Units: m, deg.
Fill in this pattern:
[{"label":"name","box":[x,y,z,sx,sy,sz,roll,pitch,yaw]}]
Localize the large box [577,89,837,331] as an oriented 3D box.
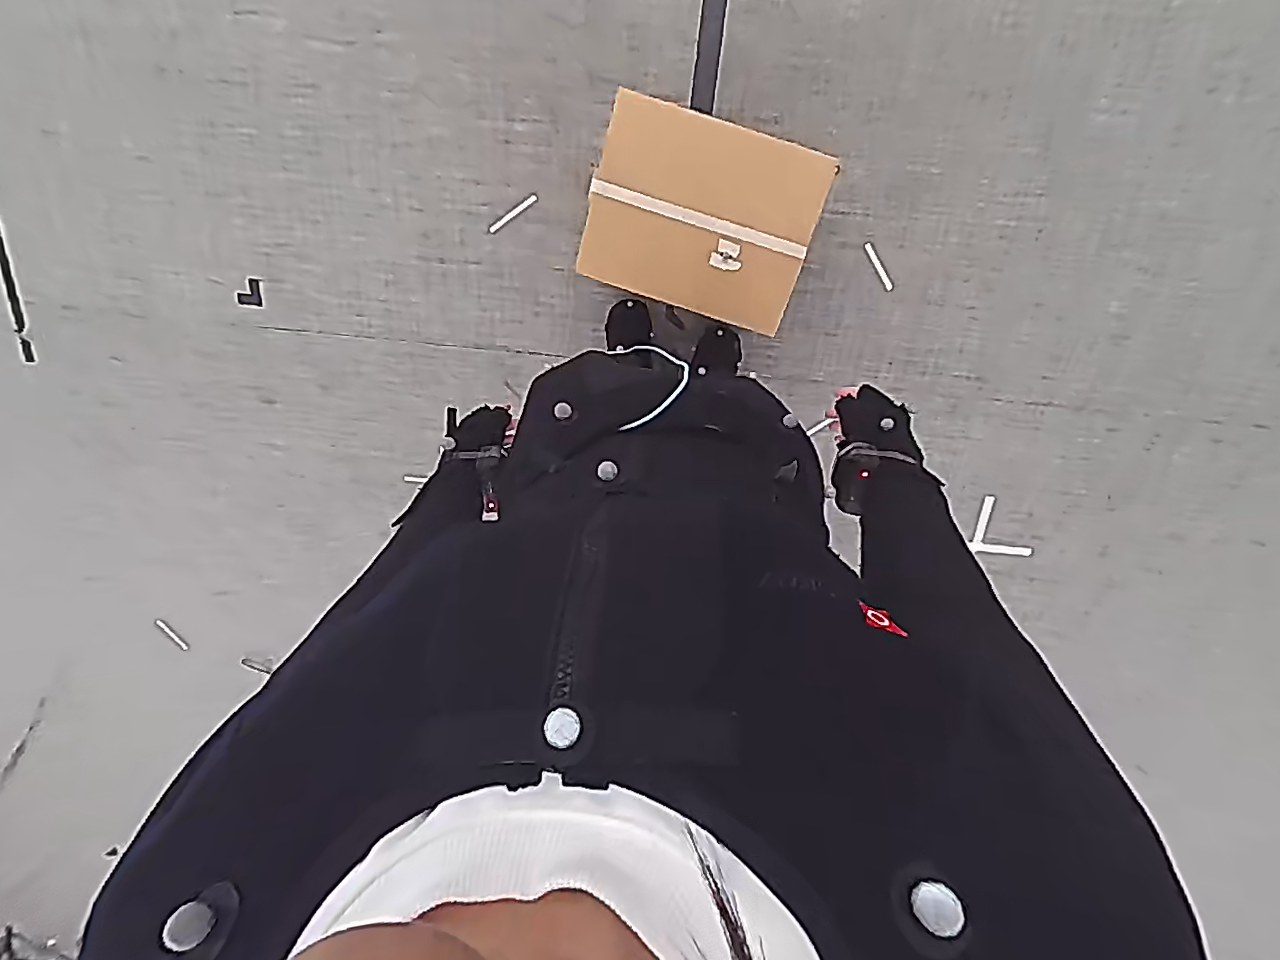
[{"label":"large box","box":[0.121,-0.527,1.114,0.408,0.320,0.320,18,112,-1]}]
